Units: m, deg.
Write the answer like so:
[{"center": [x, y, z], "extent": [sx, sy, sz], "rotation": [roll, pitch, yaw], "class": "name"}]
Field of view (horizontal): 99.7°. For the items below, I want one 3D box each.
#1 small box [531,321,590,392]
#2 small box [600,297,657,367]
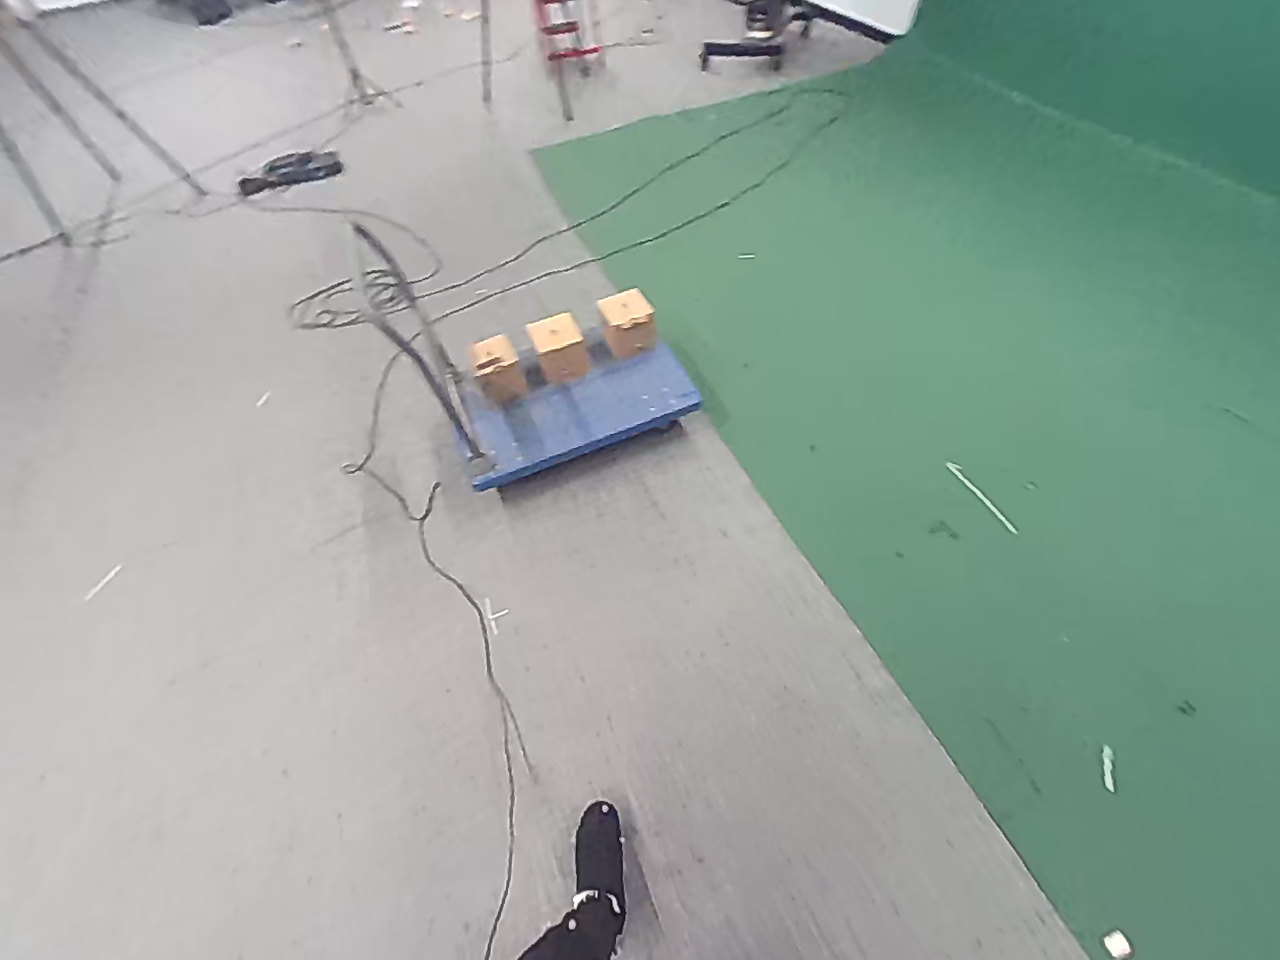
[{"center": [-0.297, -0.464, 2.035], "extent": [0.168, 0.176, 0.179], "rotation": [-21, 56, -10], "class": "small box"}, {"center": [-0.042, -0.569, 2.085], "extent": [0.168, 0.176, 0.179], "rotation": [-22, 56, -10], "class": "small box"}]
